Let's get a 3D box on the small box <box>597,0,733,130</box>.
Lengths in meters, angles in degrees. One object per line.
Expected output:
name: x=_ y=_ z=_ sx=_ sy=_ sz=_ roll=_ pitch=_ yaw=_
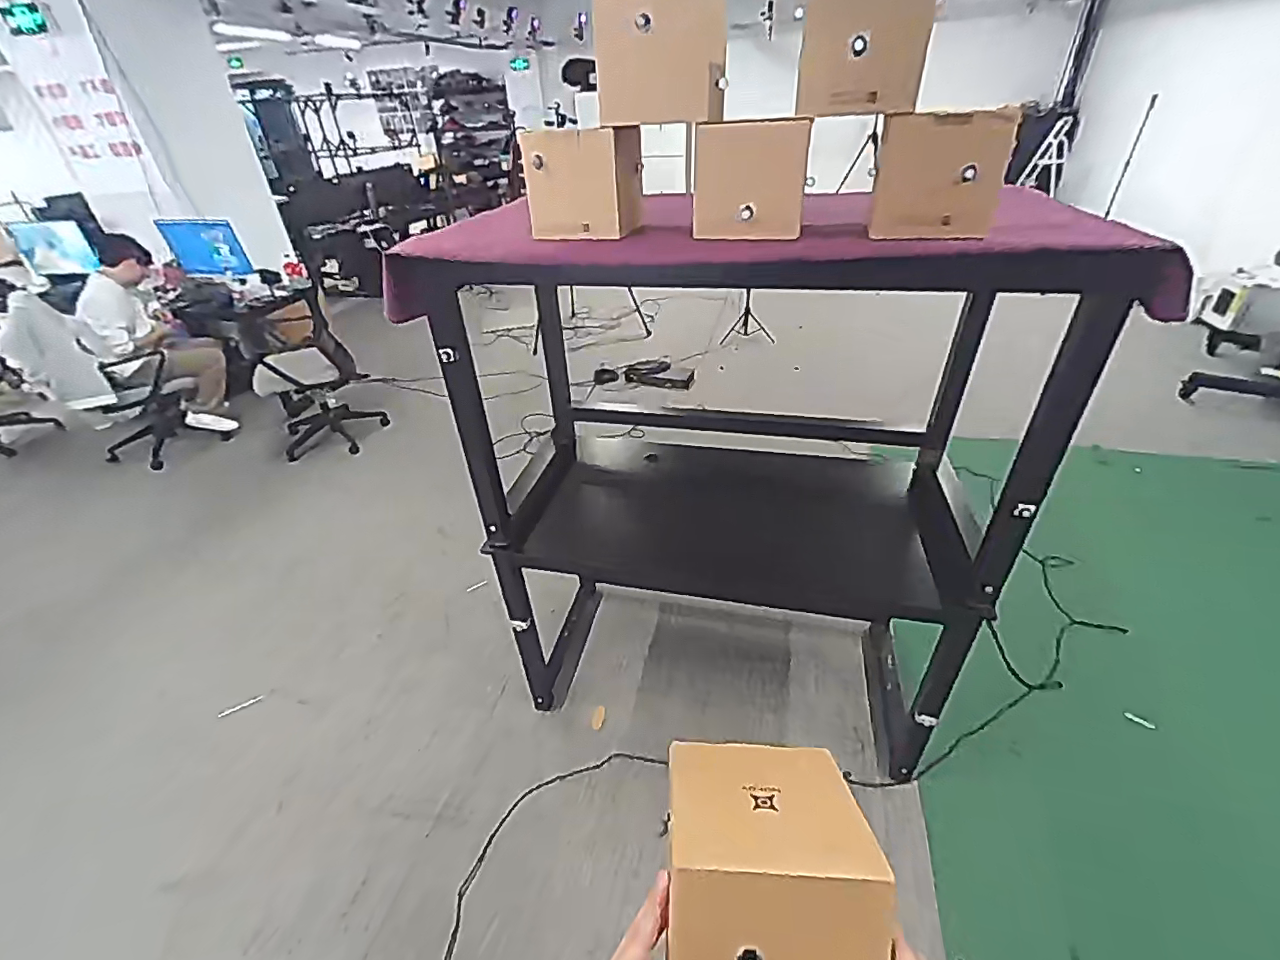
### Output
small box: x=0.044 y=-0.655 z=0.854 sx=0.179 sy=0.176 sz=0.168 roll=8 pitch=35 yaw=14

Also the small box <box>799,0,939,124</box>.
small box: x=0.330 y=-0.628 z=0.791 sx=0.168 sy=0.176 sz=0.179 roll=8 pitch=35 yaw=16

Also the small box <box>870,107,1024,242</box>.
small box: x=0.465 y=-0.476 z=0.849 sx=0.168 sy=0.176 sz=0.179 roll=8 pitch=35 yaw=16

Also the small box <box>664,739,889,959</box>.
small box: x=0.107 y=0.359 z=0.483 sx=0.168 sy=0.176 sz=0.179 roll=1 pitch=3 yaw=3
